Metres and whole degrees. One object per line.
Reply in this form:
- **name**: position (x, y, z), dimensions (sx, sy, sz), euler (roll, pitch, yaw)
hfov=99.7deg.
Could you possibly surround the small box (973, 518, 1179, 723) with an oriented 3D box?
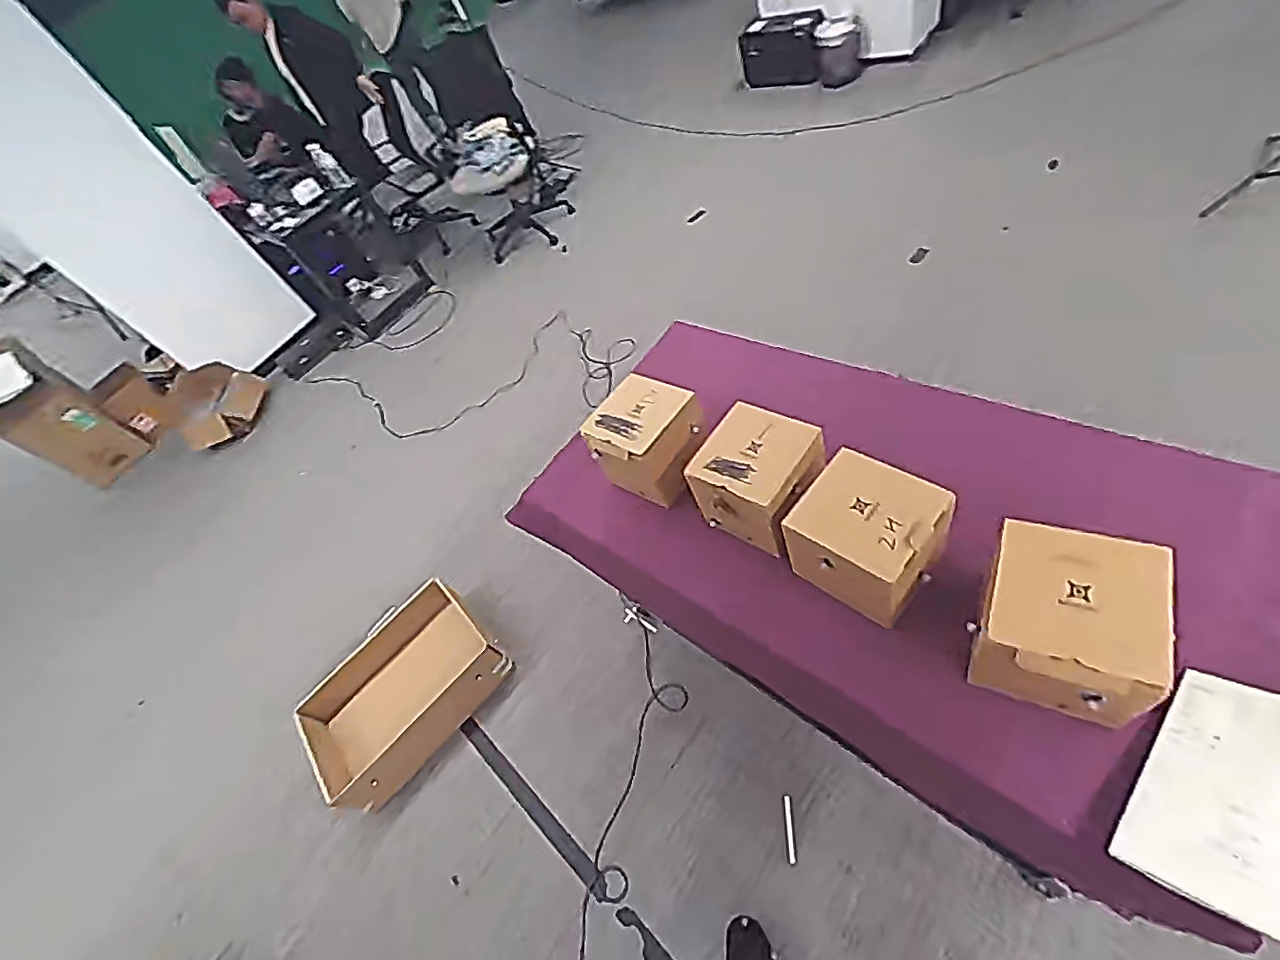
- **small box**: position (0.532, 0.178, 0.678), dimensions (0.168, 0.176, 0.179), euler (12, 60, 30)
